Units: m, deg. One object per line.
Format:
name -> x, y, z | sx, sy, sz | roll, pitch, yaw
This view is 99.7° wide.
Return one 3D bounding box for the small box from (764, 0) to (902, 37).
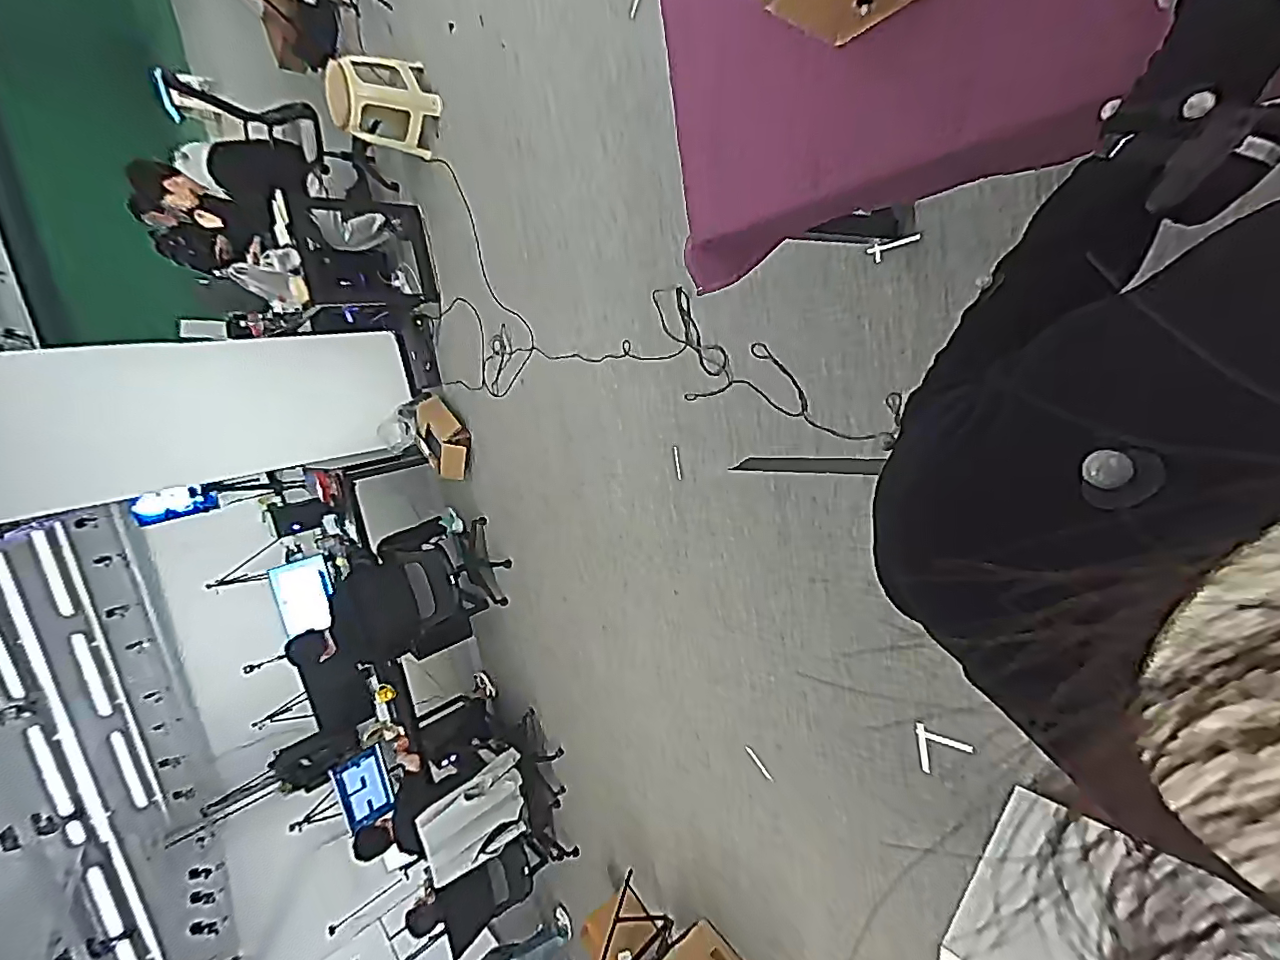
small box -> 0.239, -0.651, 0.602 | 0.168, 0.176, 0.179 | 2, 107, 48
